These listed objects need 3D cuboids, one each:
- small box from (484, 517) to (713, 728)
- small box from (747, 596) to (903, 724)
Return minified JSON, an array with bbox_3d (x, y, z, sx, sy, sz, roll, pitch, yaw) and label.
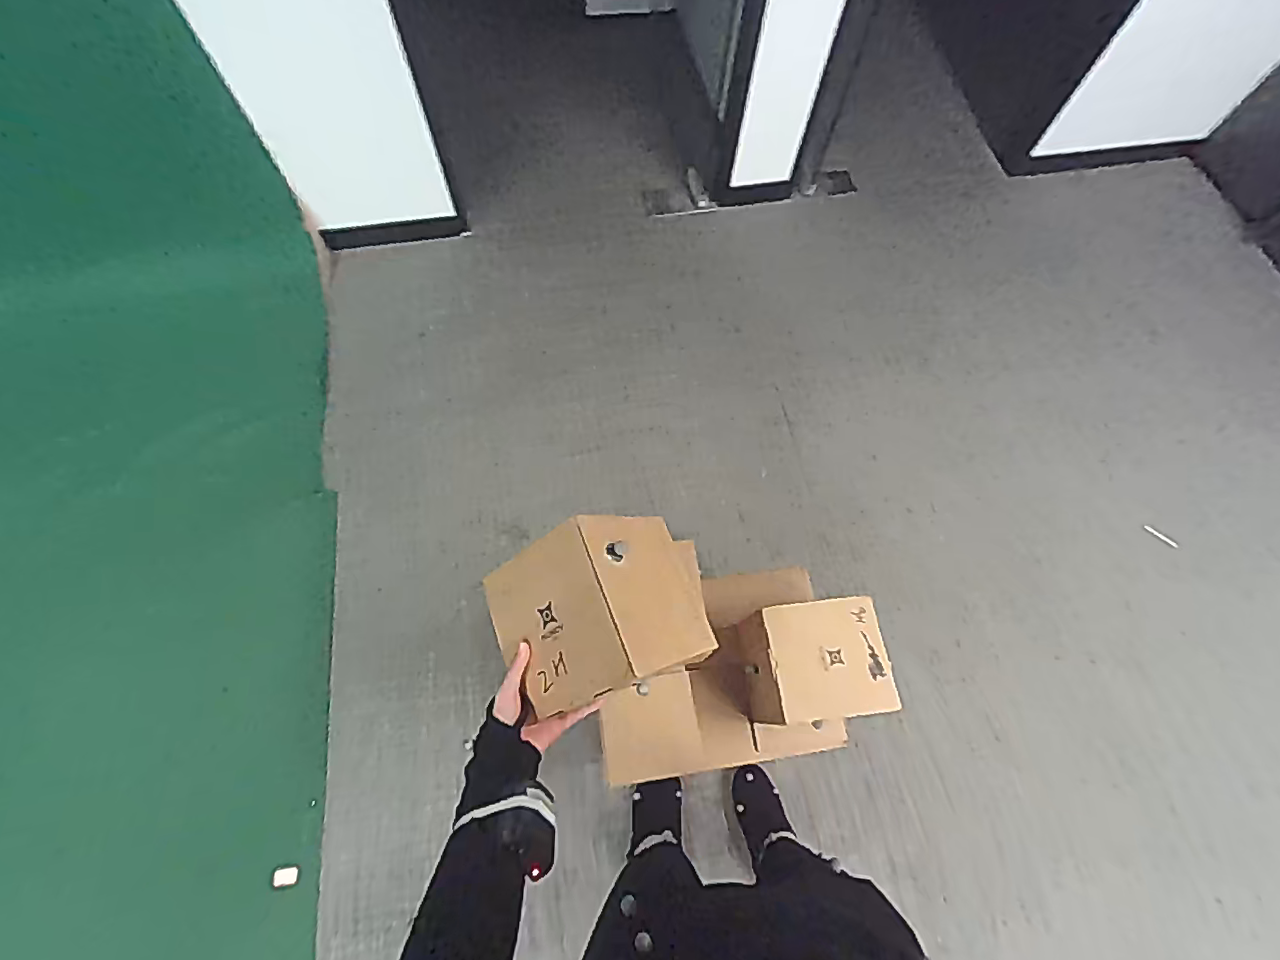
[{"bbox_3d":[-0.046,0.156,0.629,0.168,0.176,0.179,-36,68,31],"label":"small box"},{"bbox_3d":[0.275,0.289,0.857,0.179,0.176,0.168,-6,68,-4],"label":"small box"}]
